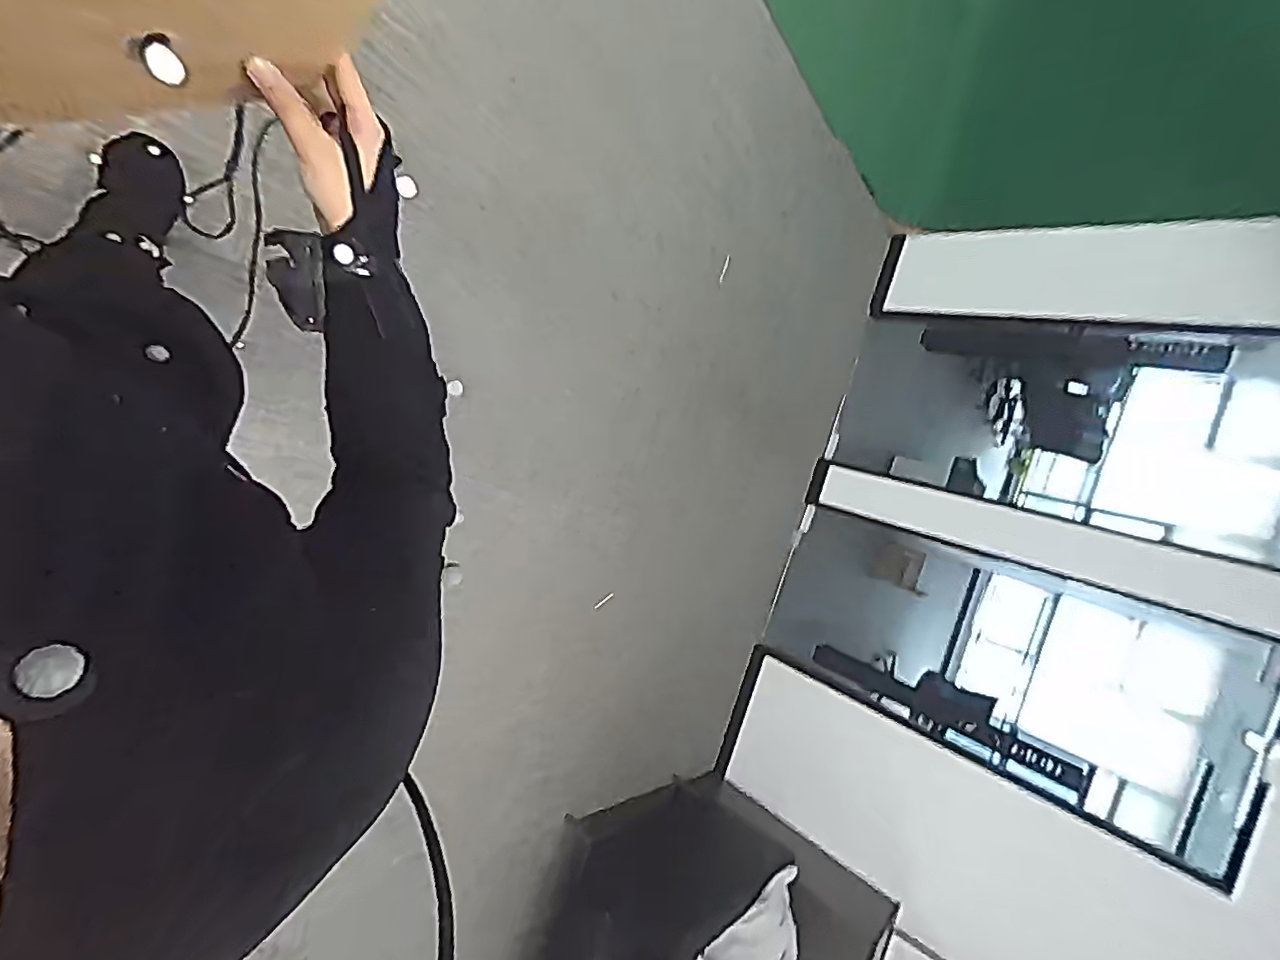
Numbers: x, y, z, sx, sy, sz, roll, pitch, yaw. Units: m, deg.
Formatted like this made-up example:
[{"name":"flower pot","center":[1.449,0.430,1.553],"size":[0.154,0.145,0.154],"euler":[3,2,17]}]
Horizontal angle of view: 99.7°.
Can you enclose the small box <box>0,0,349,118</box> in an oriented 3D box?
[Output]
[{"name":"small box","center":[-0.265,-0.297,0.255],"size":[0.179,0.176,0.168],"euler":[-37,123,-33]}]
